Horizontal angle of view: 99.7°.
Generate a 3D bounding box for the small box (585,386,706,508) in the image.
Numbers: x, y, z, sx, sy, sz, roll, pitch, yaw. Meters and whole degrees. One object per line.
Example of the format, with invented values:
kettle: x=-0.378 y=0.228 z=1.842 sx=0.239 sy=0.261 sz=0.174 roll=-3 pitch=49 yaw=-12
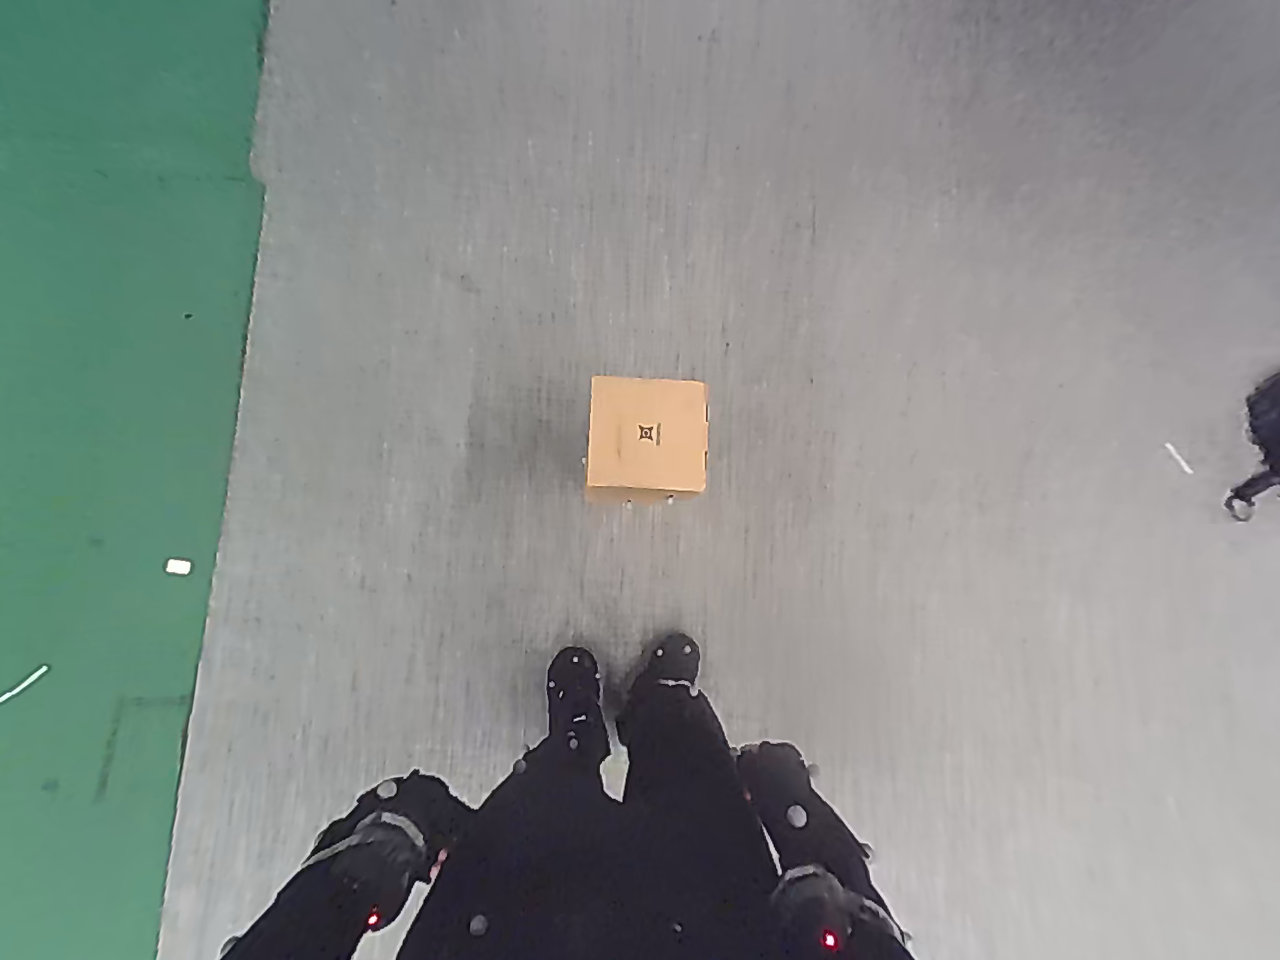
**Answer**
small box: x=0.004 y=-0.046 z=0.871 sx=0.179 sy=0.176 sz=0.168 roll=2 pitch=82 yaw=-3
